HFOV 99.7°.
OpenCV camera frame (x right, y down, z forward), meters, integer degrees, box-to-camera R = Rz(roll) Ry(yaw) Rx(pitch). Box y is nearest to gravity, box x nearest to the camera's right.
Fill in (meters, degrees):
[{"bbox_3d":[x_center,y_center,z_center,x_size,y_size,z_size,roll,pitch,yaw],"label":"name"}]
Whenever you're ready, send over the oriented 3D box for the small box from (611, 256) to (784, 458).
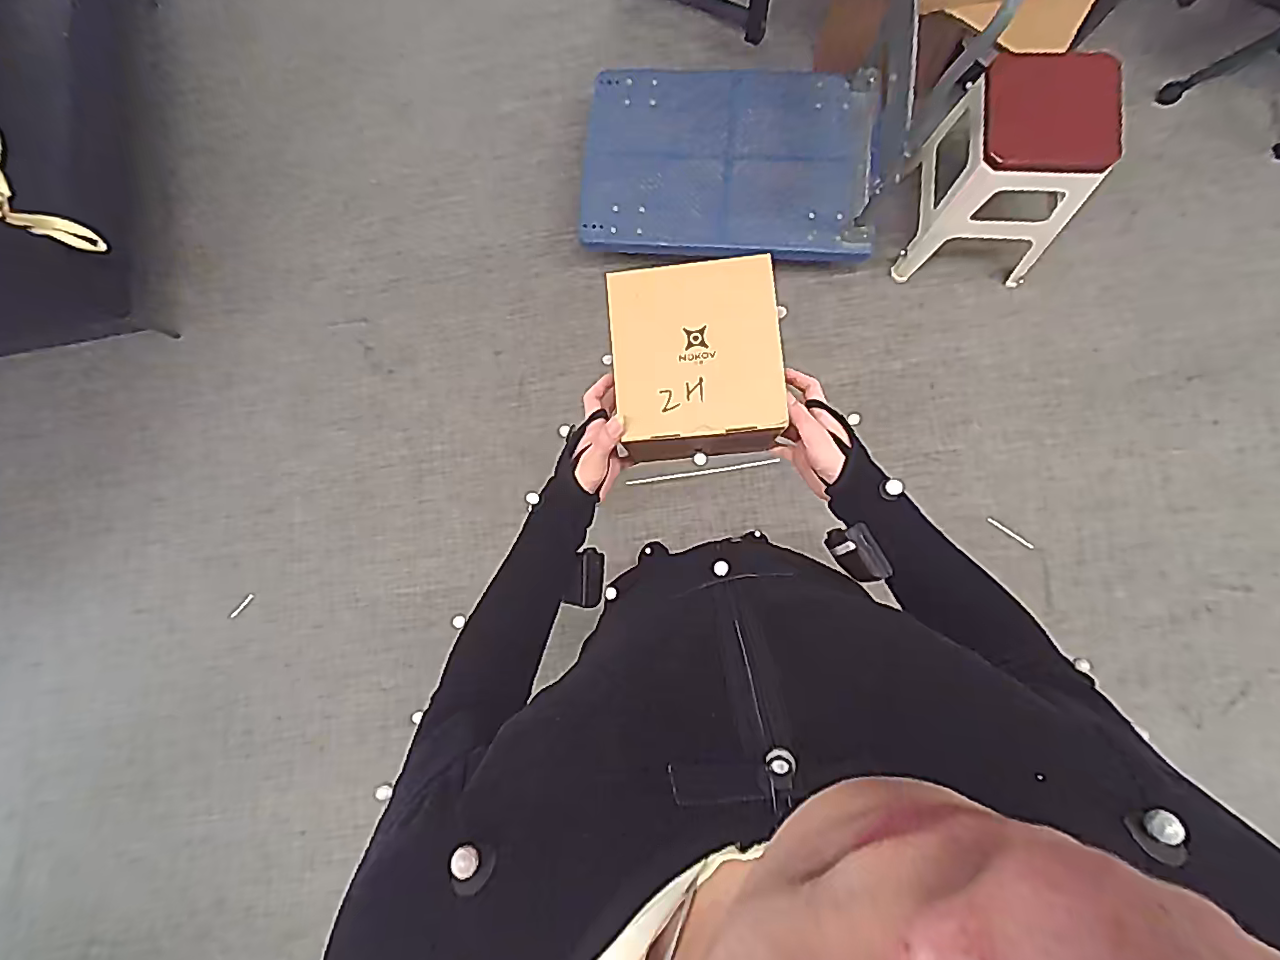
[{"bbox_3d":[0.061,-0.127,0.618,0.168,0.176,0.179,-4,85,5],"label":"small box"}]
